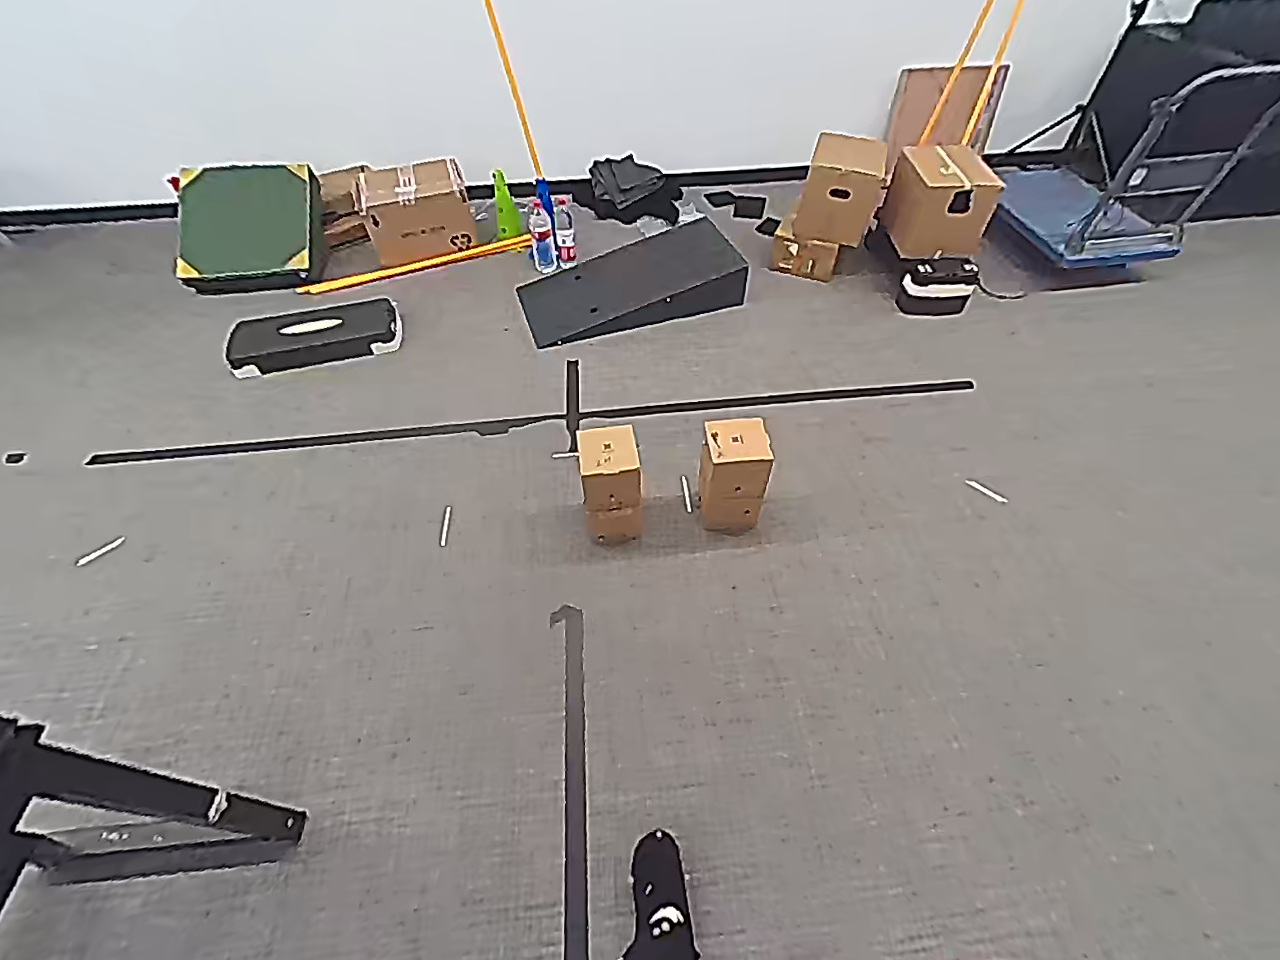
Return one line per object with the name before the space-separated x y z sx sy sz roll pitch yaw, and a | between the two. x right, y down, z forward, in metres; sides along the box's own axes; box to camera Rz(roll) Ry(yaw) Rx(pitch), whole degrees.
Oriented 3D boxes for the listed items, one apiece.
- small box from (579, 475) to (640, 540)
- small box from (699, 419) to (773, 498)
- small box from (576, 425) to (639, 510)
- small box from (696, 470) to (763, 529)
small box | -0.094 0.073 1.703 0.168 0.176 0.179 -9 51 -7
small box | 0.277 -0.062 1.600 0.179 0.176 0.168 -3 50 -3
small box | -0.095 -0.036 1.580 0.168 0.176 0.179 -7 52 -5
small box | 0.279 0.043 1.726 0.179 0.176 0.168 -3 51 -1
